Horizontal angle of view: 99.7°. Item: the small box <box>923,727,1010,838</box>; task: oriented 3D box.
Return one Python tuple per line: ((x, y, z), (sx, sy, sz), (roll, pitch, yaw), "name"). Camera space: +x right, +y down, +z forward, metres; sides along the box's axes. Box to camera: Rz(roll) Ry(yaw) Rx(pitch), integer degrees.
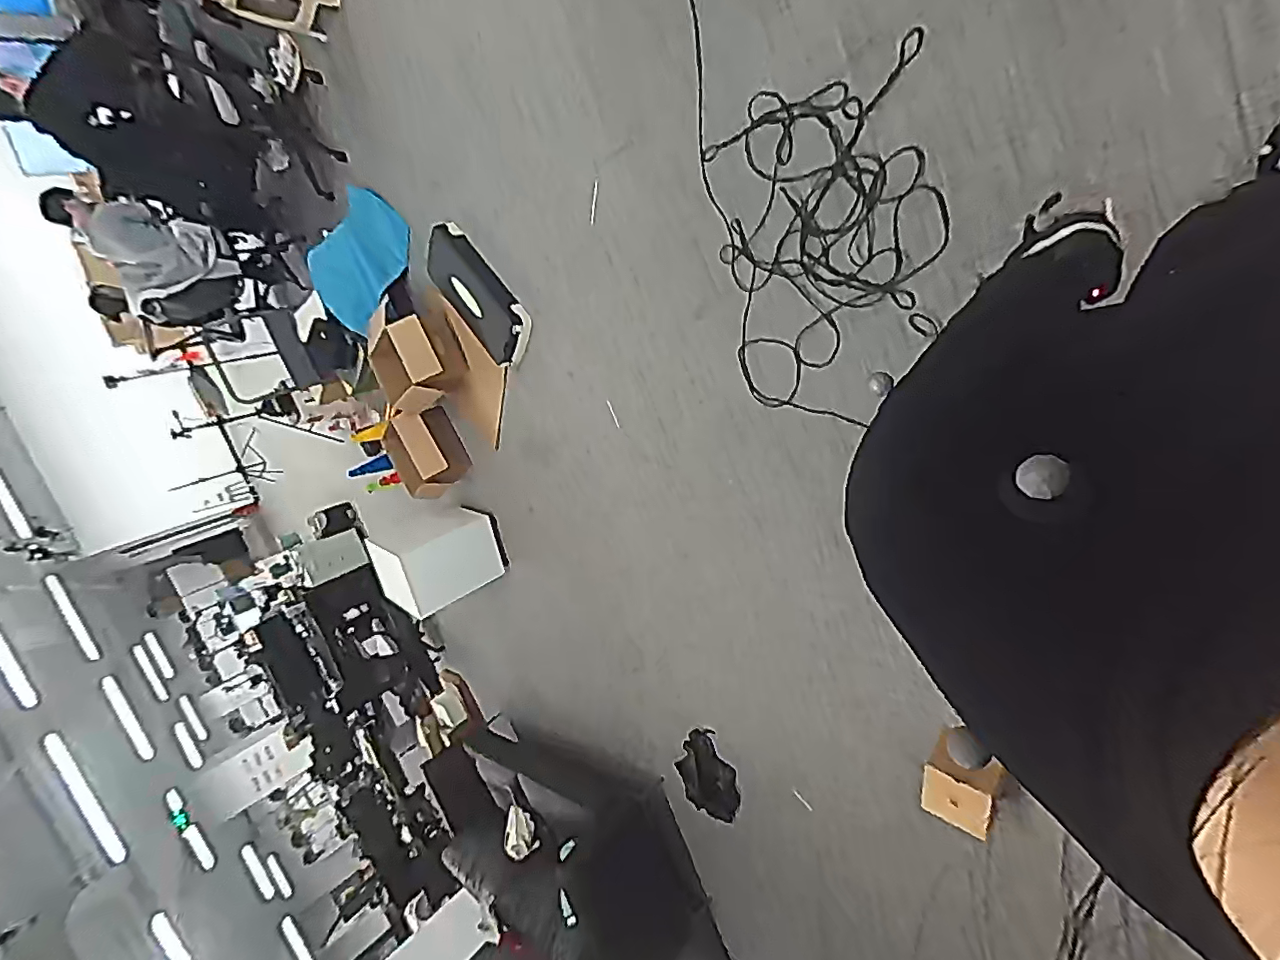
((0.924, 0.848, 1.530), (0.168, 0.176, 0.179), (14, 121, 44), "small box")
